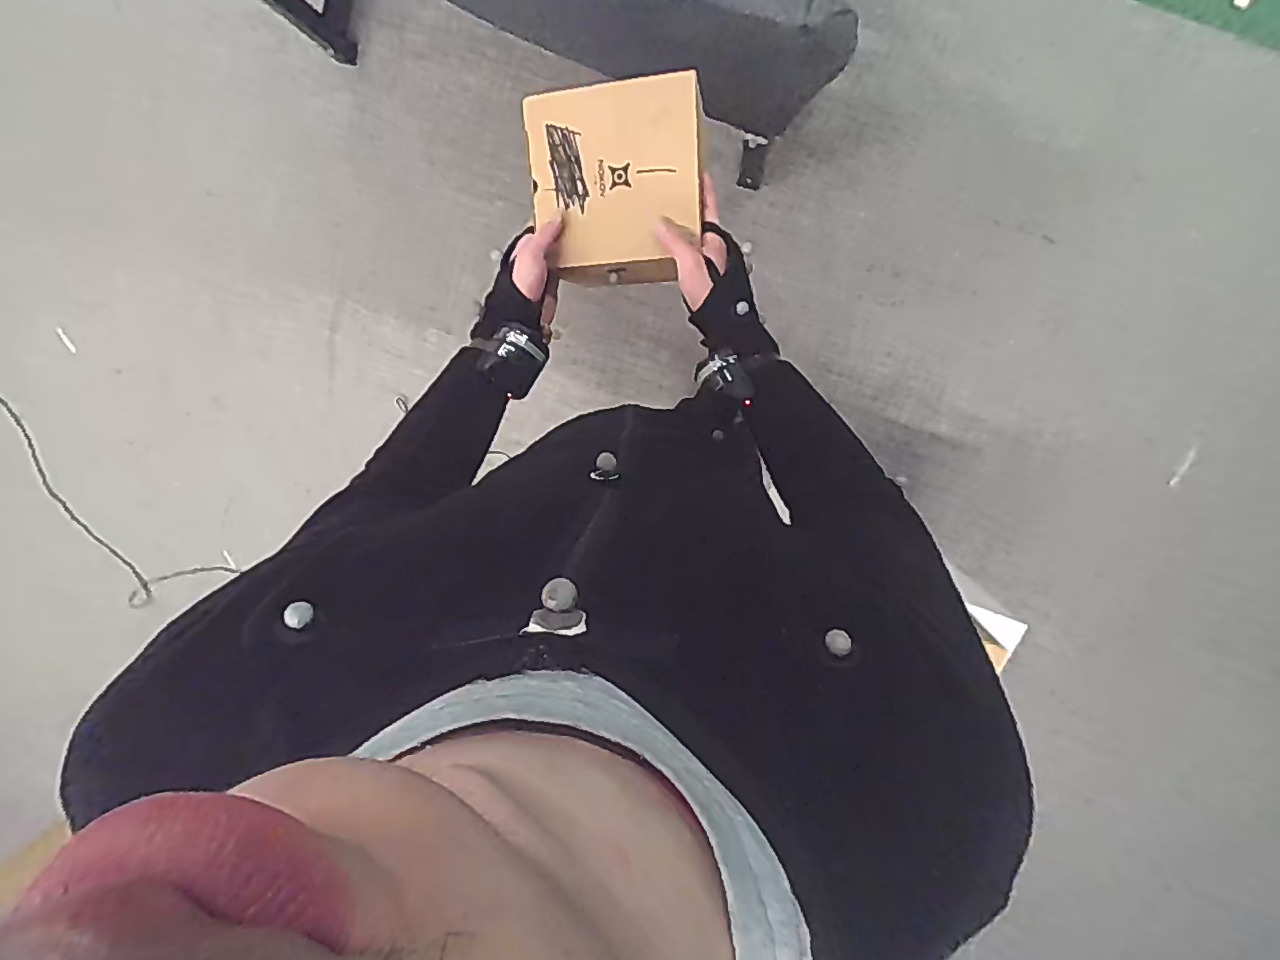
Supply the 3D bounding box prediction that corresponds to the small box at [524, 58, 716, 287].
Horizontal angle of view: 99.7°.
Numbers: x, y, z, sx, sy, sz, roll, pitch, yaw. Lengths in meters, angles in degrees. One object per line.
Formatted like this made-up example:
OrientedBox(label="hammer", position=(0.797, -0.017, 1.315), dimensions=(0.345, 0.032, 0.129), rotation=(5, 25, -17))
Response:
OrientedBox(label="small box", position=(-0.008, -0.315, 0.596), dimensions=(0.179, 0.176, 0.168), rotation=(-3, 102, 9))
